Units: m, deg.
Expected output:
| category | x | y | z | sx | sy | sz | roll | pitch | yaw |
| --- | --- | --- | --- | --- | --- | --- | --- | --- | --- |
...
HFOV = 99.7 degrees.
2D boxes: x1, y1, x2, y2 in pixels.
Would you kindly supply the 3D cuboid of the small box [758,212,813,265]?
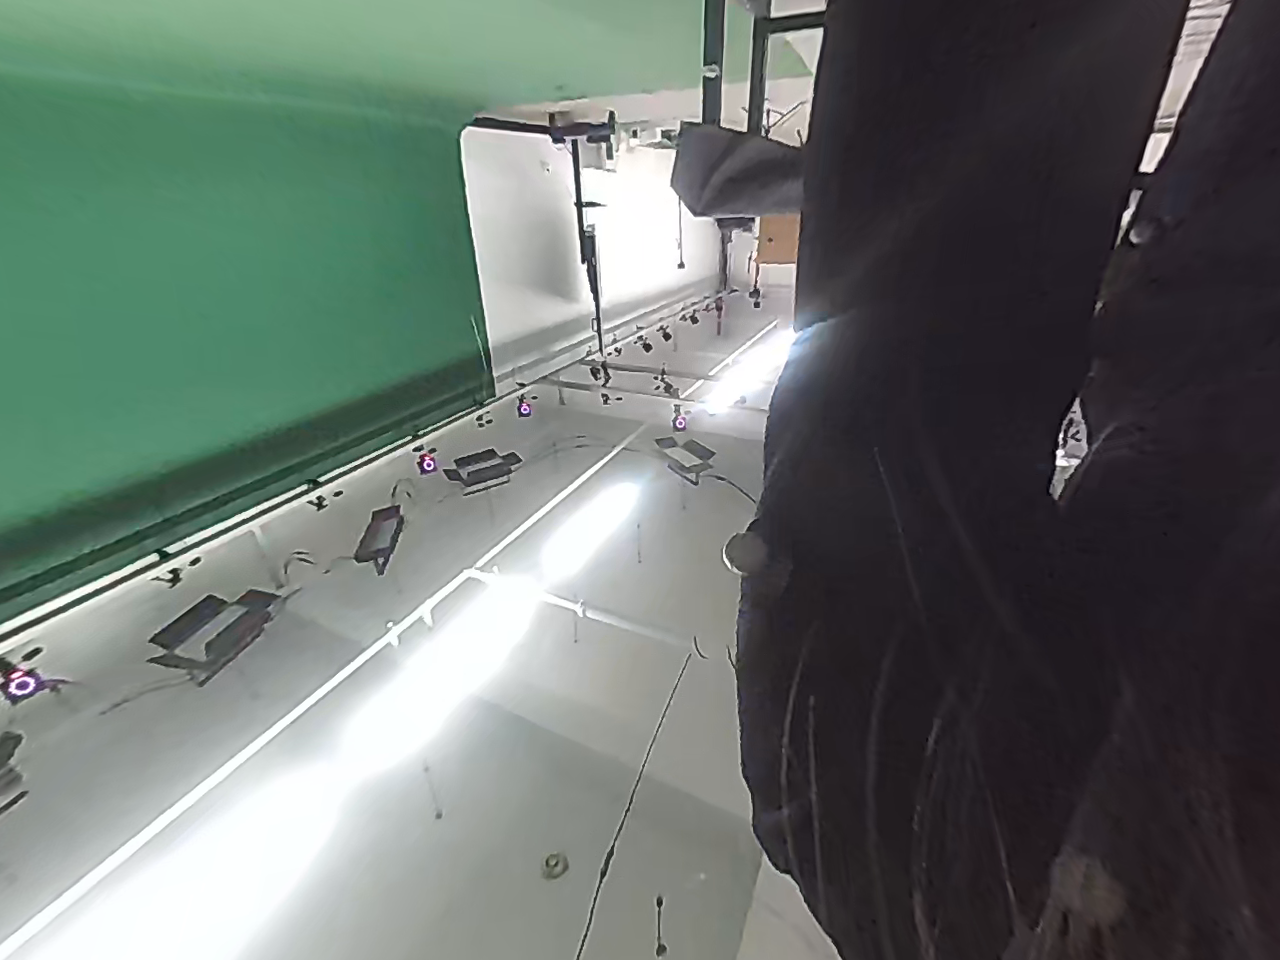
| category | x | y | z | sx | sy | sz | roll | pitch | yaw |
| --- | --- | --- | --- | --- | --- | --- | --- | --- | --- |
| small box | 0.537 | -0.902 | 2.011 | 0.179 | 0.176 | 0.168 | 4 | -150 | 11 |
